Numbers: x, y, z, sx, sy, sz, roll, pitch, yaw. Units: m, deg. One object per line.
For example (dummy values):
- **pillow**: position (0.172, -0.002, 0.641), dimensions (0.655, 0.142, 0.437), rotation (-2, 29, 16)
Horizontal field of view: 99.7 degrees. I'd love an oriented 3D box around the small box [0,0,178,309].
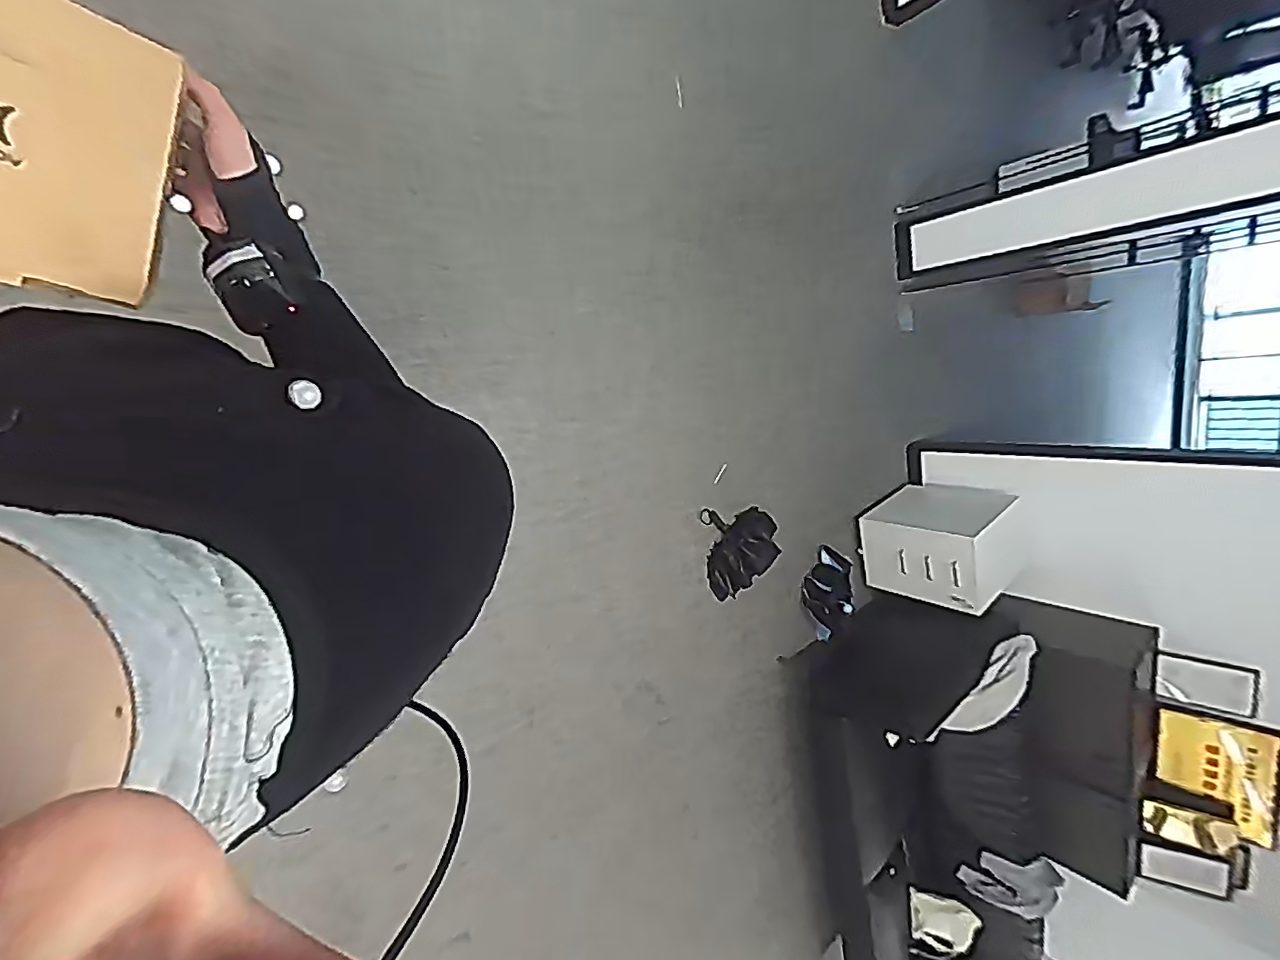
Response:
- **small box**: position (-0.447, -0.242, 0.384), dimensions (0.168, 0.176, 0.179), rotation (8, 105, -43)
